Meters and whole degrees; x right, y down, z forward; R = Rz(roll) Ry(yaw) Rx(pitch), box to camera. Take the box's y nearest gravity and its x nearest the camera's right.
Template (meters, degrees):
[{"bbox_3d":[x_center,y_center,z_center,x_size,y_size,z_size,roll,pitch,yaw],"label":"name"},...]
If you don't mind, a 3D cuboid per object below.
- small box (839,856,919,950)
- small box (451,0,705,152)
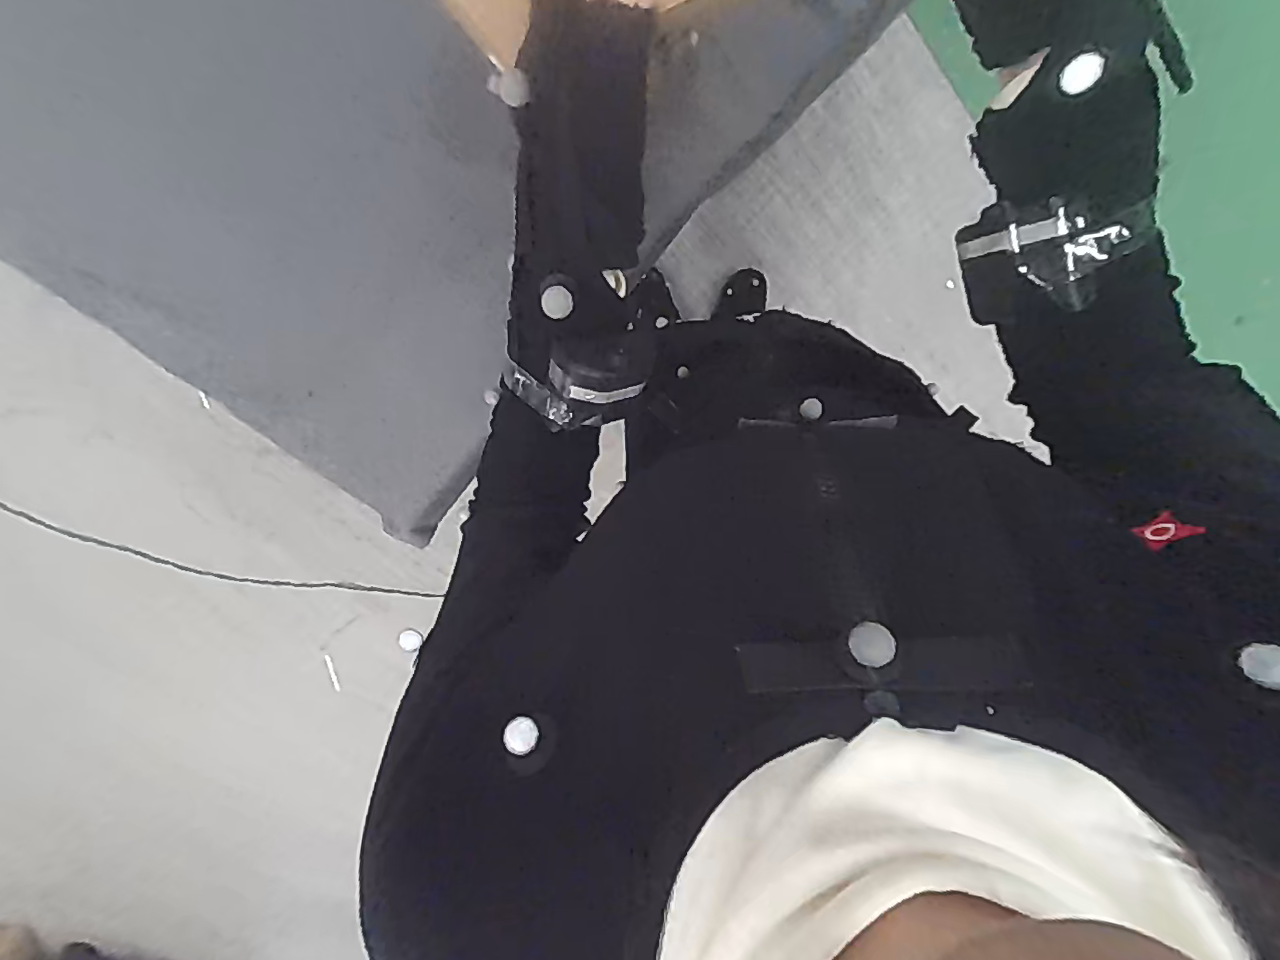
[{"bbox_3d":[0.735,1.304,1.675,0.179,0.176,0.168,-11,114,2],"label":"small box"},{"bbox_3d":[-0.052,-0.411,0.440,0.179,0.176,0.168,-41,108,14],"label":"small box"}]
